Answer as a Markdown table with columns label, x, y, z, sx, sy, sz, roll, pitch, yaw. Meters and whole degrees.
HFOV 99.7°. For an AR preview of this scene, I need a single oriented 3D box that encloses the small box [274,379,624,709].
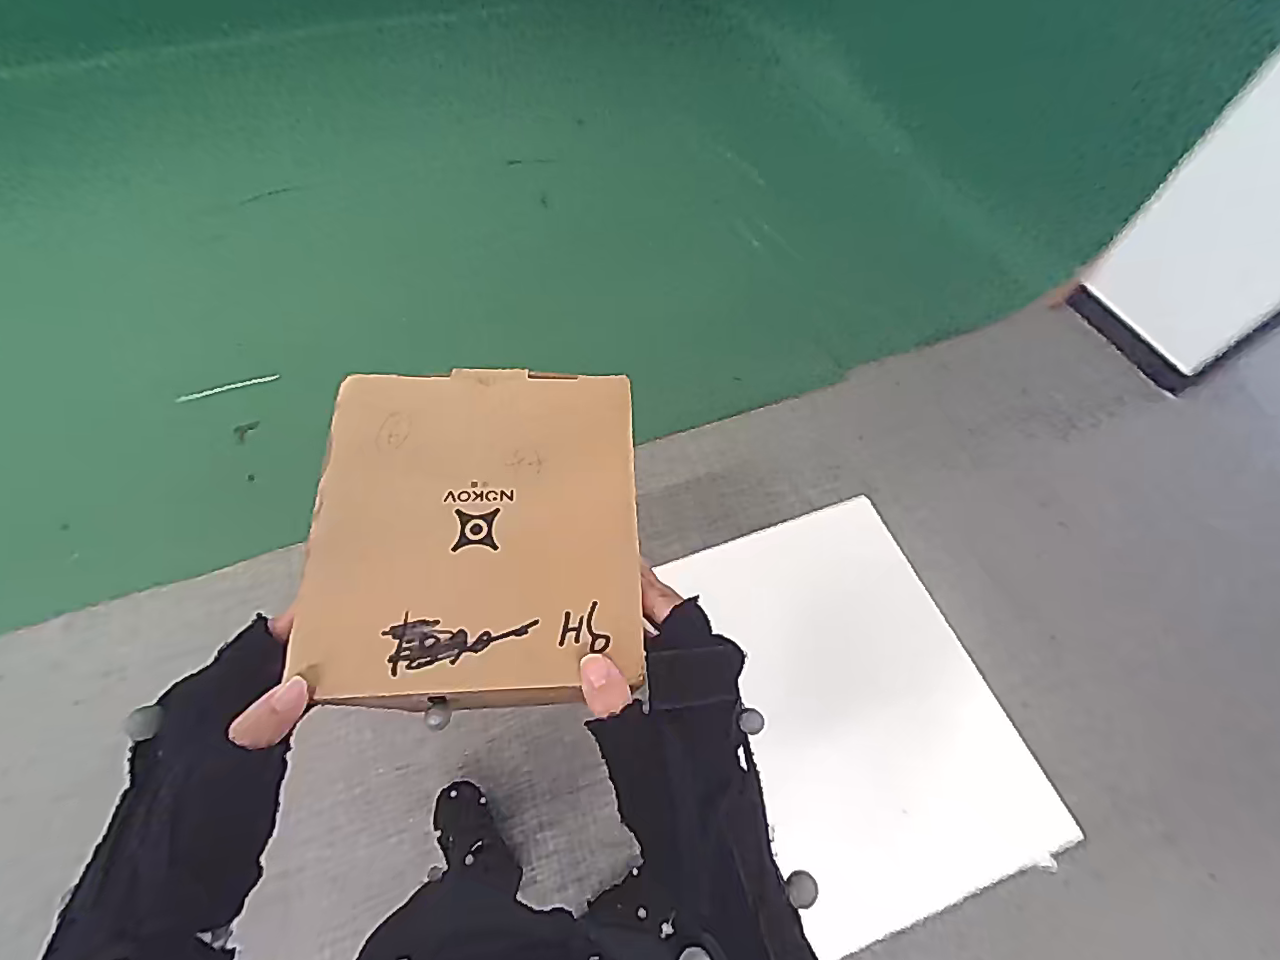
| label | x | y | z | sx | sy | sz | roll | pitch | yaw |
| --- | --- | --- | --- | --- | --- | --- | --- | --- | --- |
| small box | -0.098 | 0.052 | 0.364 | 0.168 | 0.176 | 0.179 | -2 | 65 | -4 |
